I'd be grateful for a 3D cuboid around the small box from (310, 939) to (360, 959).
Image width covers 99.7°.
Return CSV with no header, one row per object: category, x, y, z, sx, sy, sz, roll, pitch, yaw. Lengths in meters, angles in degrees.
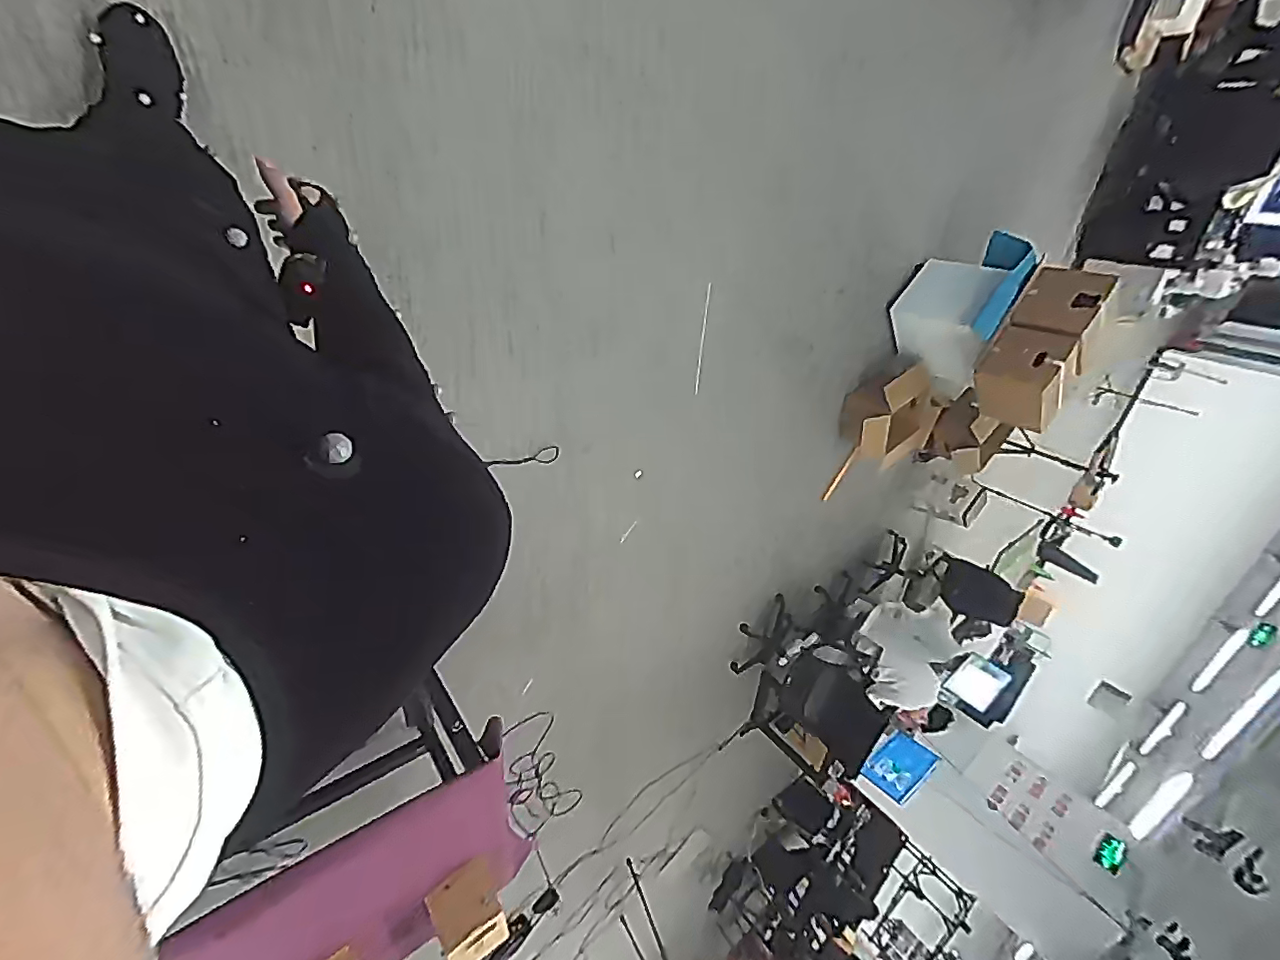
small box,-0.787,1.321,1.361,0.168,0.176,0.179,-18,126,-33
